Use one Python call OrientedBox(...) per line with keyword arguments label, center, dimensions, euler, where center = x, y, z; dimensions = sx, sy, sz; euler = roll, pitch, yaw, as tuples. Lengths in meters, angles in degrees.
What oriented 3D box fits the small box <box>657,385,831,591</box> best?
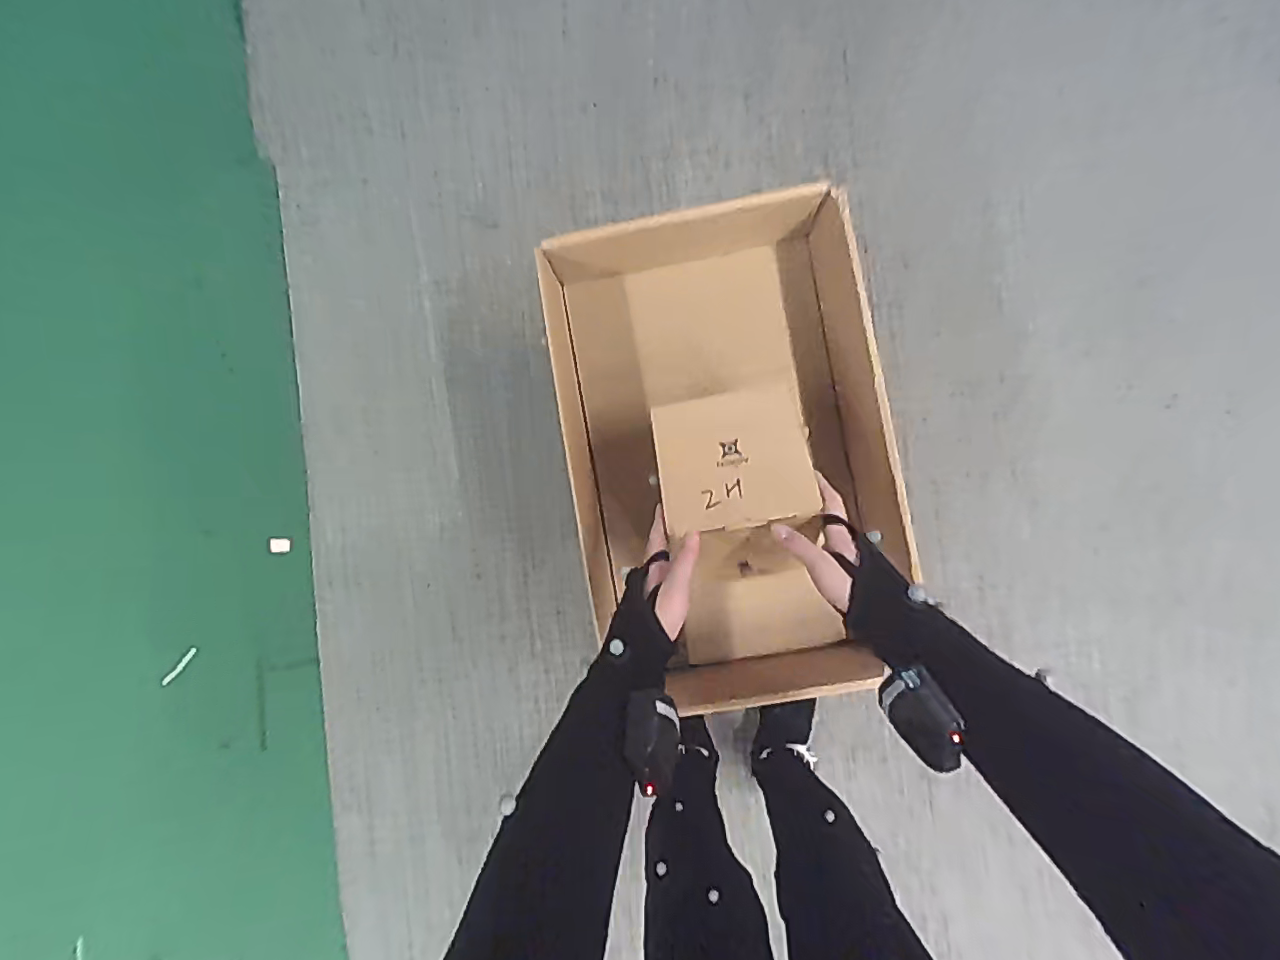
OrientedBox(label="small box", center=(0.118, 0.015, 0.659), dimensions=(0.168, 0.176, 0.179), euler=(-10, 56, 6))
